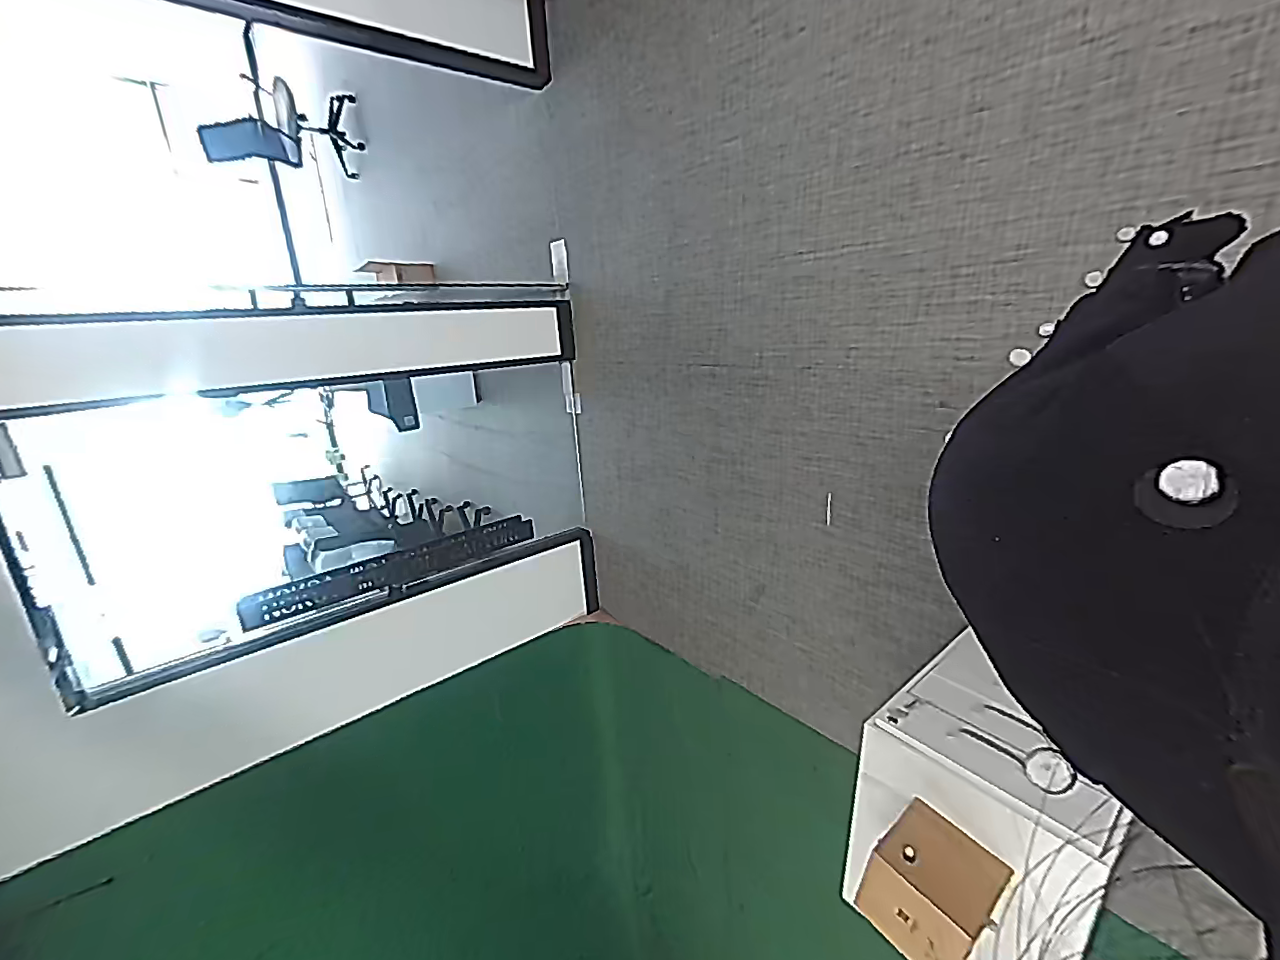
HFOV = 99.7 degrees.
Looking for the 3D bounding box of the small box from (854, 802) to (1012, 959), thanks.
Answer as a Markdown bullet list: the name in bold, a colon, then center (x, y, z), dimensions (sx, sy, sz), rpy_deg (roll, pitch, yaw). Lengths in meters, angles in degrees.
- **small box**: center (0.524, 0.724, 0.974), dimensions (0.179, 0.176, 0.168), rpy_deg (29, 125, 44)
